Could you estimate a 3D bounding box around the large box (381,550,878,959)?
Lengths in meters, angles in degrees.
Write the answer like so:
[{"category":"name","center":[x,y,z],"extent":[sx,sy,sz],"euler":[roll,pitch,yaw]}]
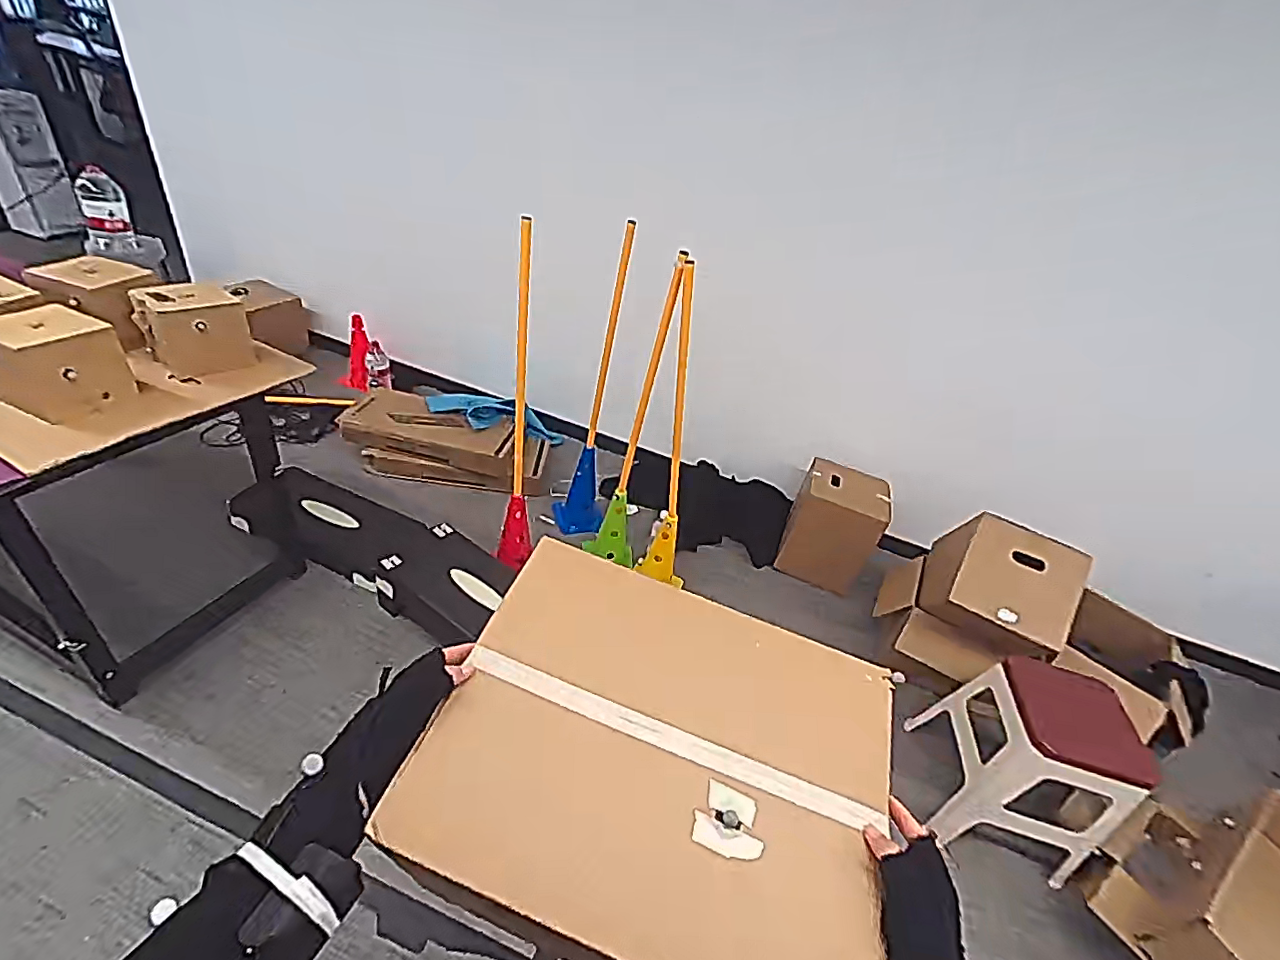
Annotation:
[{"category":"large box","center":[-0.001,0.345,0.611],"extent":[0.408,0.320,0.320],"euler":[21,47,6]}]
